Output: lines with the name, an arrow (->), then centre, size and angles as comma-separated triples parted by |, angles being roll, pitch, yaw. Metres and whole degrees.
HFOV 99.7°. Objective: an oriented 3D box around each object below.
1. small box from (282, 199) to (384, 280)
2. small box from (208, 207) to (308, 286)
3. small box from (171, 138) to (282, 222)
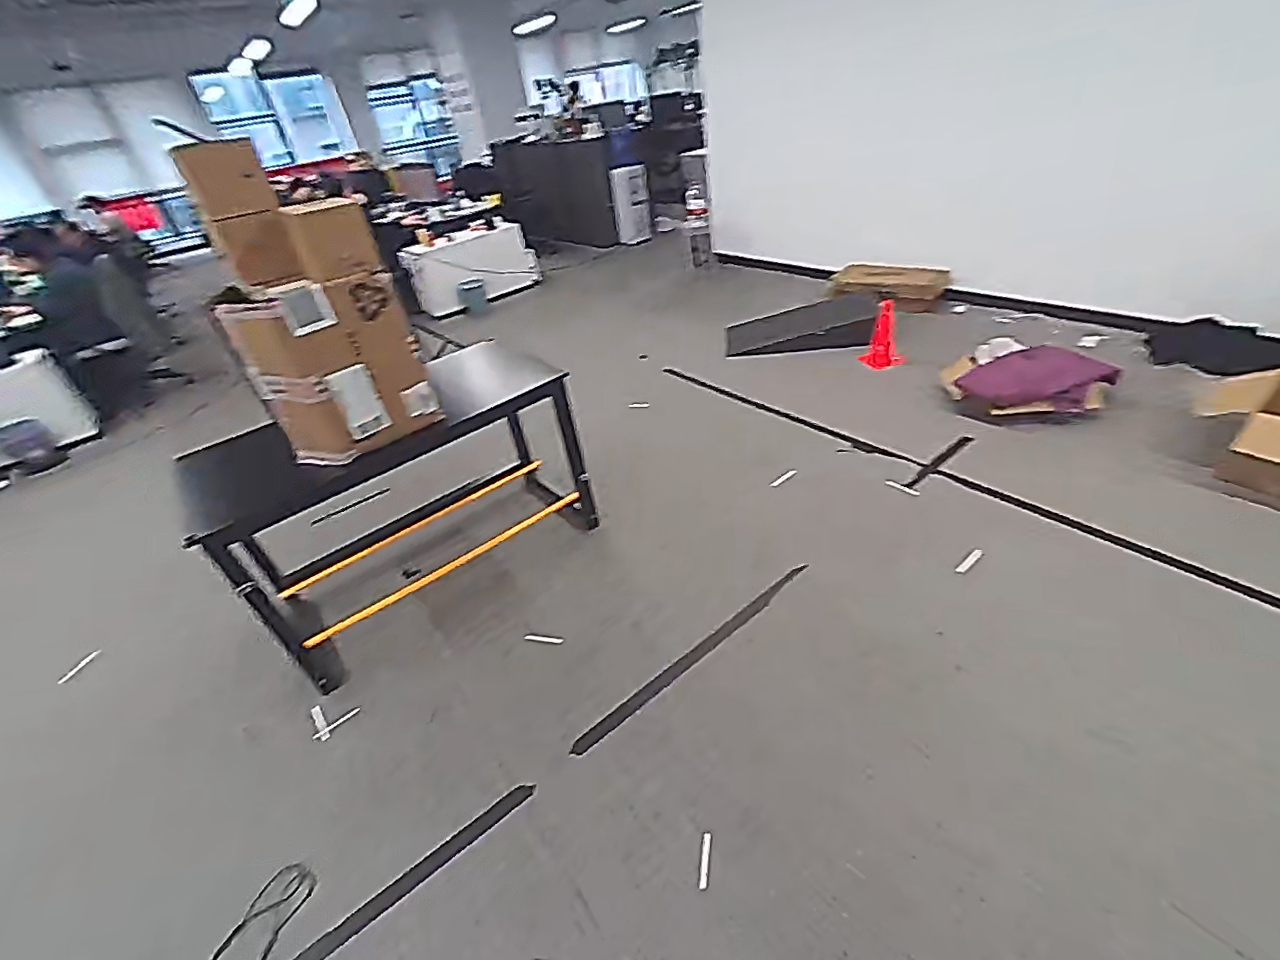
small box -> -0.835, -0.658, 1.476 | 0.168, 0.176, 0.179 | -32, 43, -30
small box -> -1.070, -0.661, 1.531 | 0.179, 0.176, 0.168 | -33, 40, -30
small box -> -1.090, -0.794, 1.437 | 0.179, 0.176, 0.168 | -34, 40, -31
